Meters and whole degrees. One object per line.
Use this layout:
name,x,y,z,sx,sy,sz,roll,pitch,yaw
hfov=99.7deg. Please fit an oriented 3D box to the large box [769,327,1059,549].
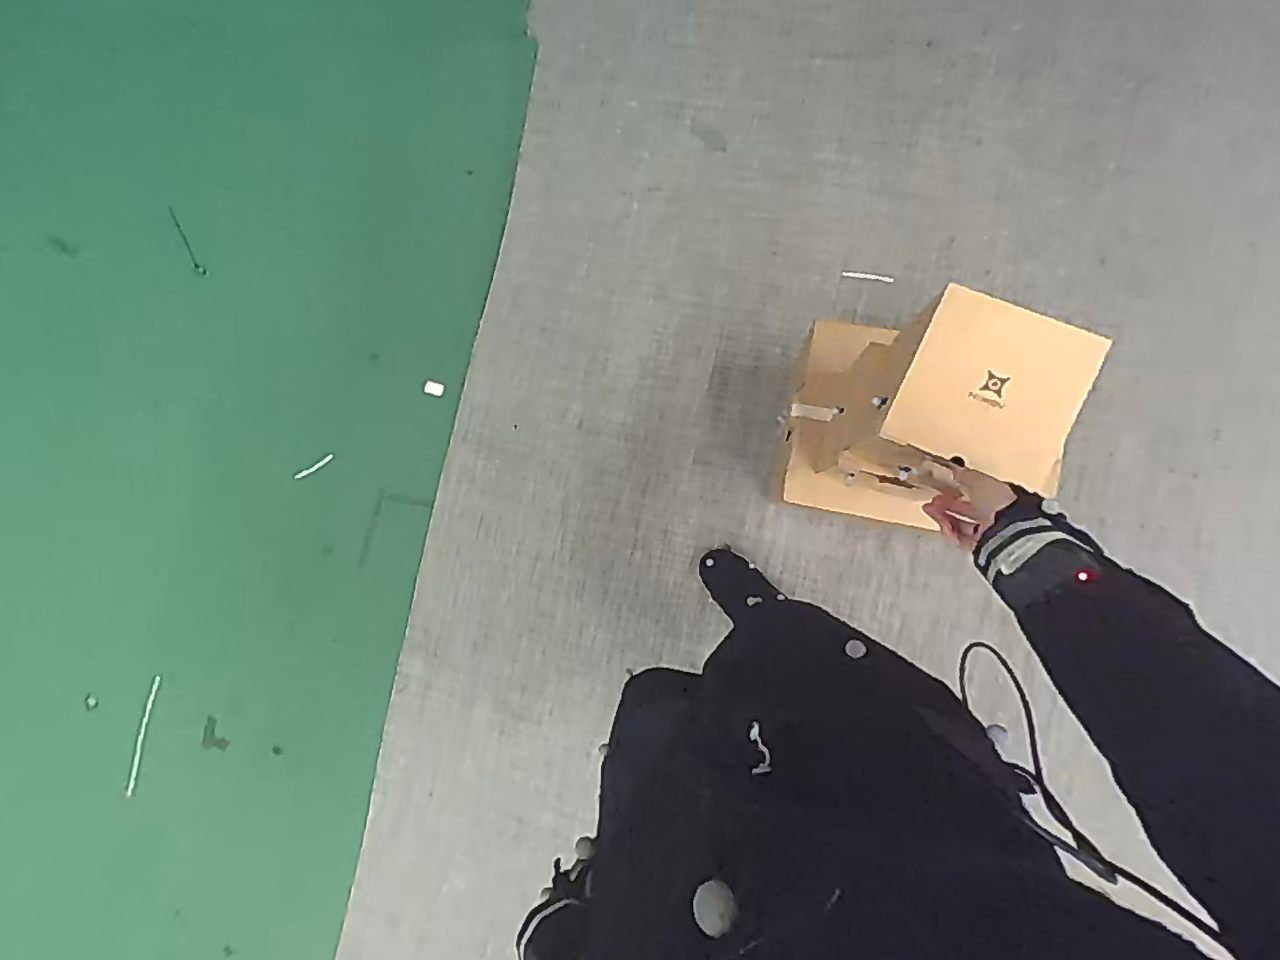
large box,0.478,-0.064,1.014,0.408,0.320,0.320,11,89,8

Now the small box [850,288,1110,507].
small box,0.365,-0.081,0.621,0.168,0.176,0.179,25,91,9
